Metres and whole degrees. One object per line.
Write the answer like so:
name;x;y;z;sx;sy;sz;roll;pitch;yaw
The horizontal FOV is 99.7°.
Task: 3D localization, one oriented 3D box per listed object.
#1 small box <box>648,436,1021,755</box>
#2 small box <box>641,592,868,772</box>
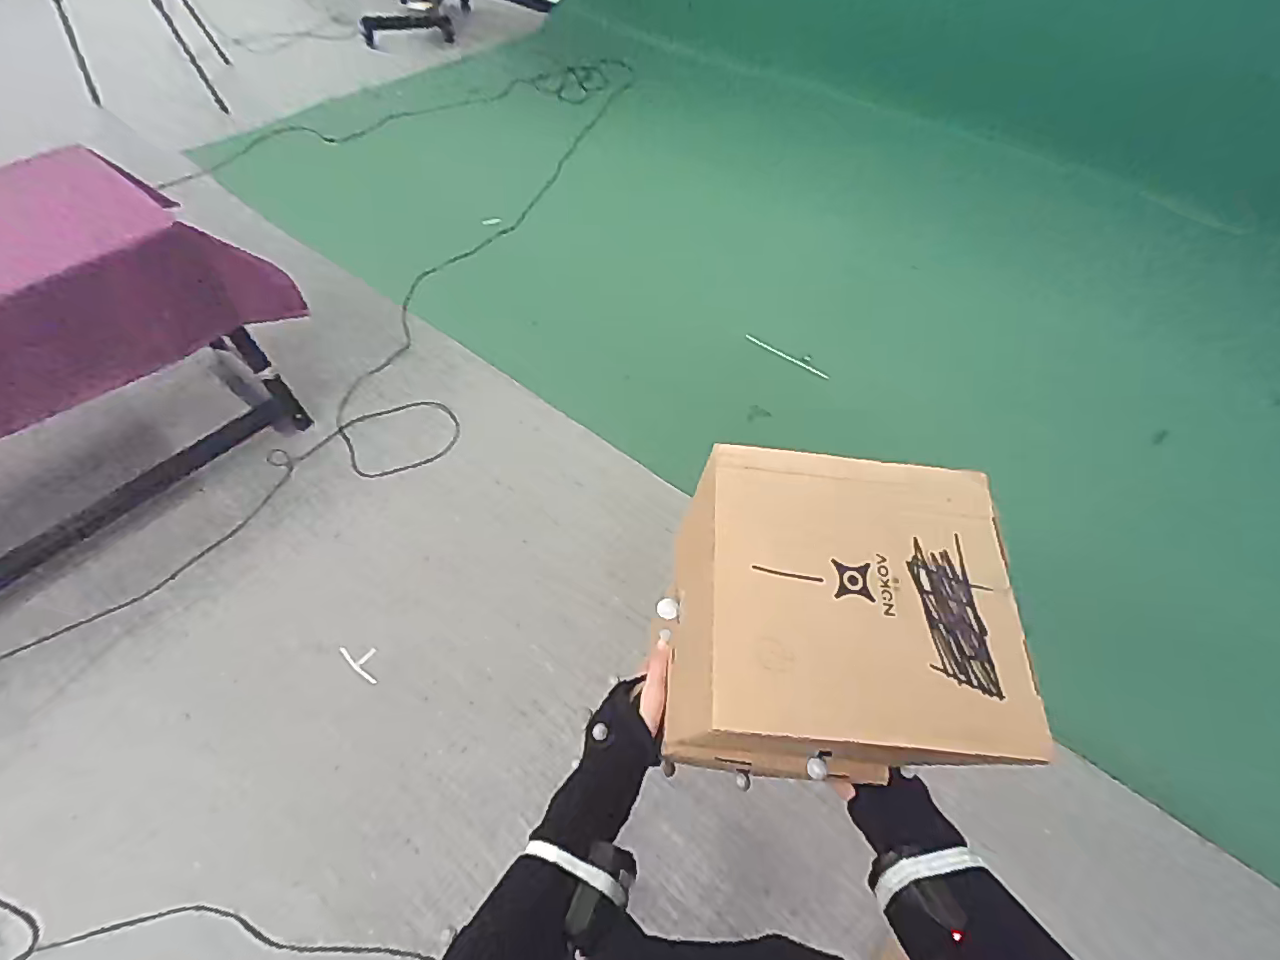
small box;0.105;0.090;0.373;0.179;0.176;0.168;6;62;-2
small box;0.096;0.170;0.517;0.168;0.176;0.179;8;62;-1
